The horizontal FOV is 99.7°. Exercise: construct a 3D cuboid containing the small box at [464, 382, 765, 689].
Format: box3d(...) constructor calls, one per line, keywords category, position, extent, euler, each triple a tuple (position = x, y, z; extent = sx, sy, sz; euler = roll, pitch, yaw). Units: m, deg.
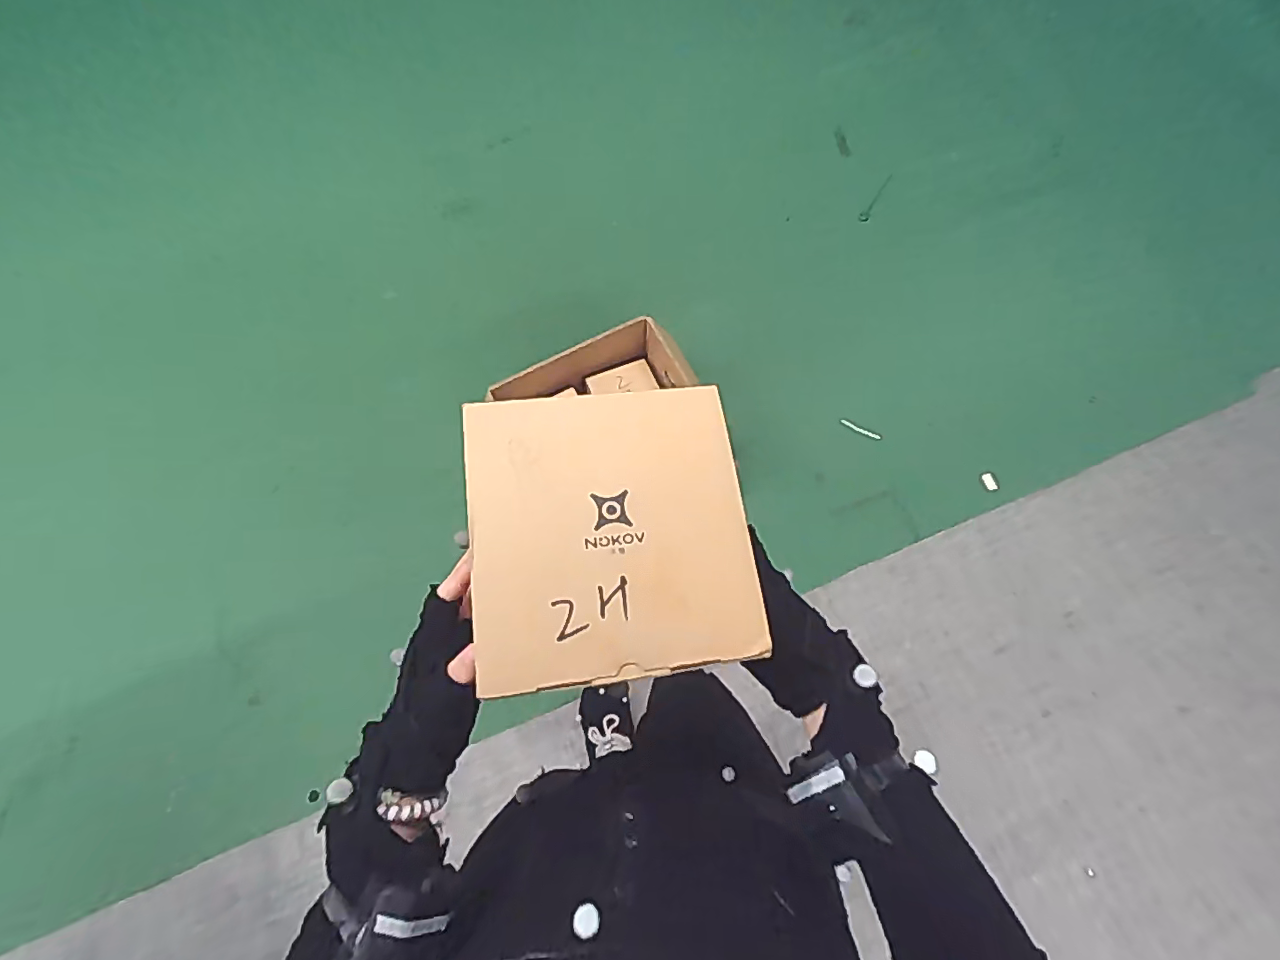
box3d(category="small box", position=(-0.028, 0.048, 0.396), extent=(0.168, 0.176, 0.179), euler=(-6, 72, -8))
